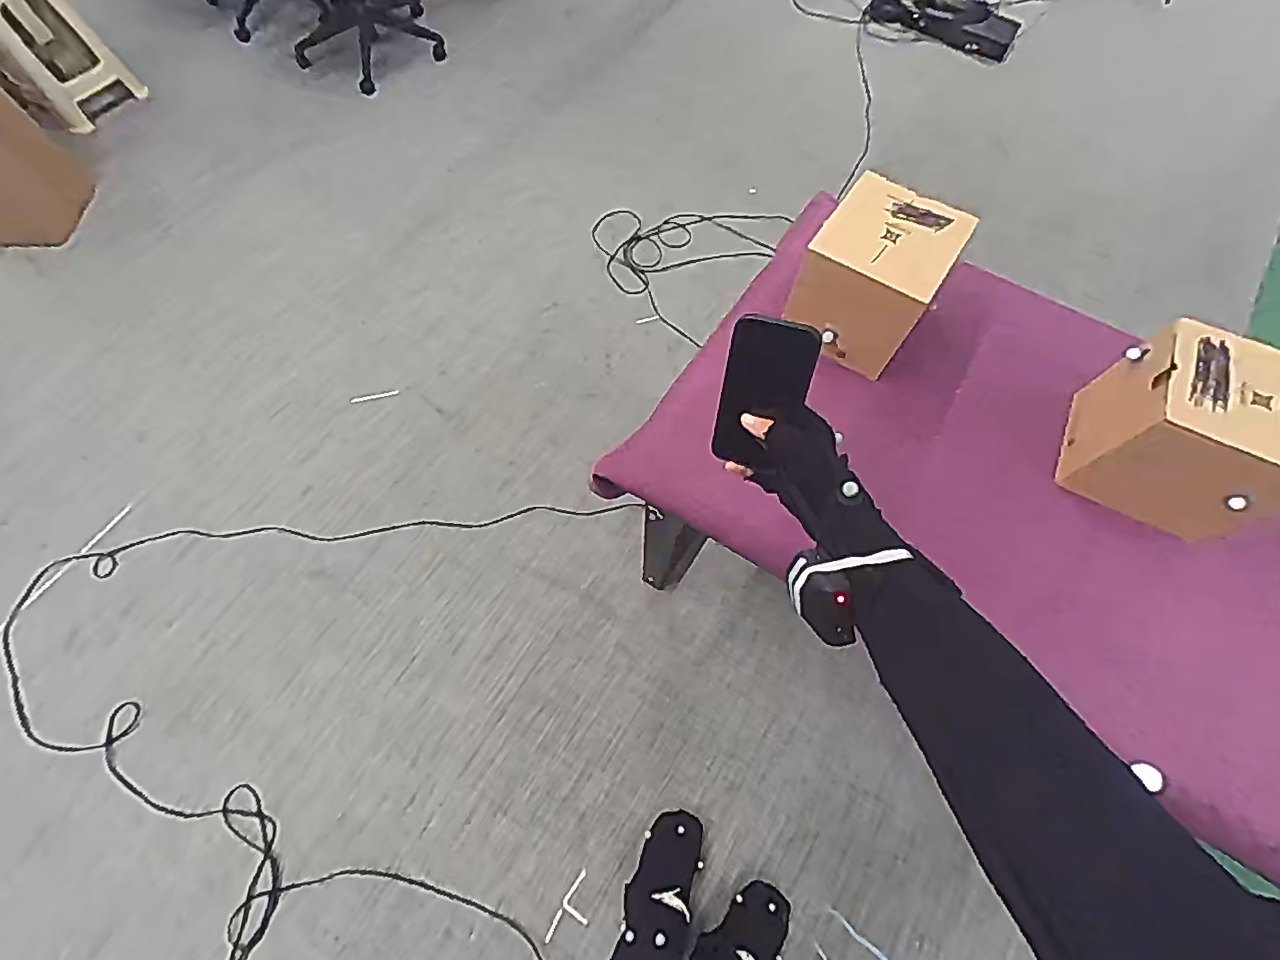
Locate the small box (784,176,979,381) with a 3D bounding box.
[{"bbox_3d":[0.327,-0.278,0.767,0.168,0.176,0.179,33,71,14],"label":"small box"}]
